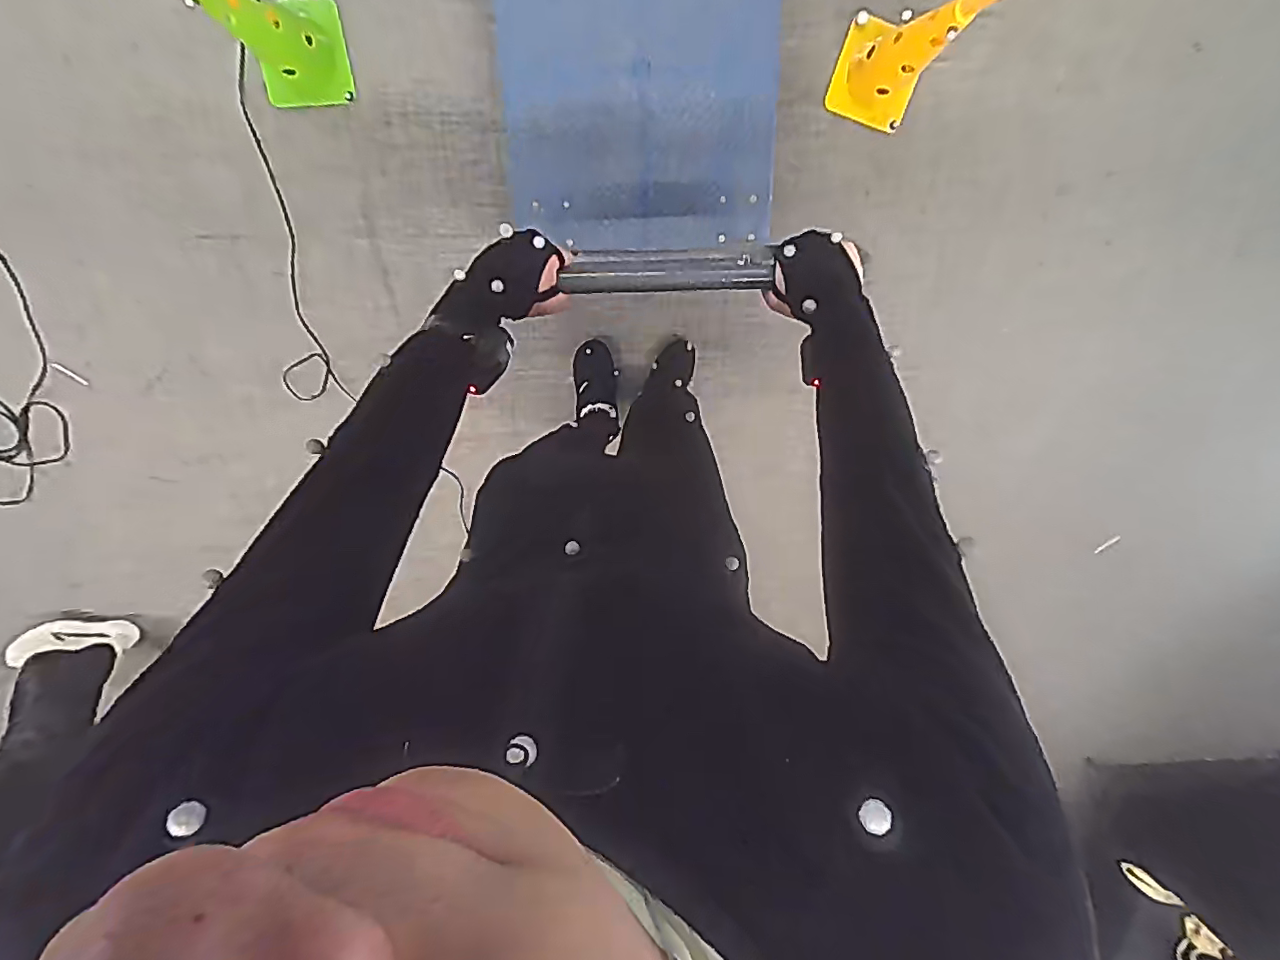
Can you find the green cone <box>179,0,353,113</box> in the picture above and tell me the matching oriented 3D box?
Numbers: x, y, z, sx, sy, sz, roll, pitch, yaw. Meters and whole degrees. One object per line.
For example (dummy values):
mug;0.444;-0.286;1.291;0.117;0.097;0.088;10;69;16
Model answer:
green cone;-0.763;-0.890;1.059;0.202;0.368;0.200;-4;111;1
